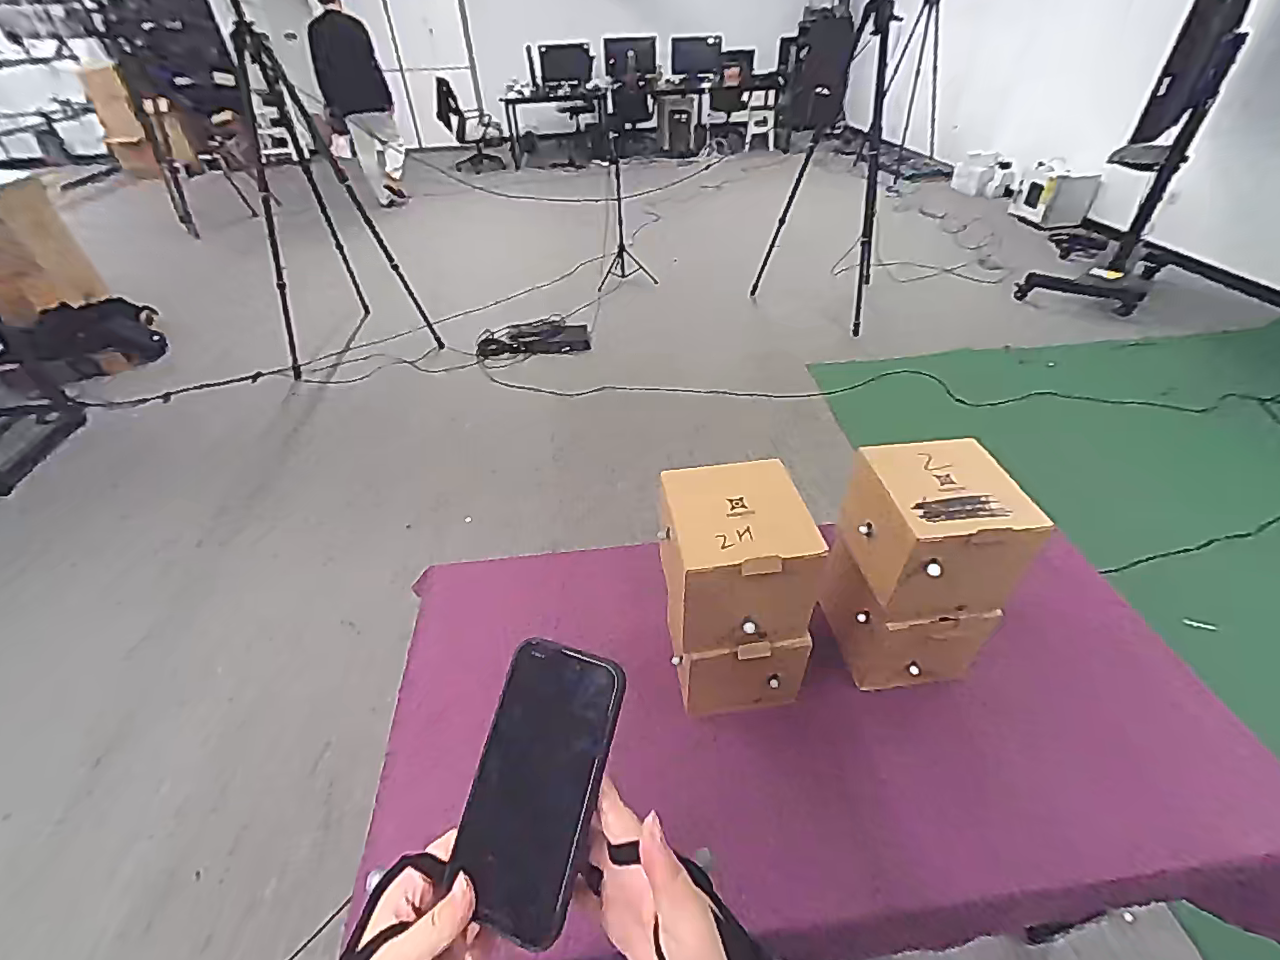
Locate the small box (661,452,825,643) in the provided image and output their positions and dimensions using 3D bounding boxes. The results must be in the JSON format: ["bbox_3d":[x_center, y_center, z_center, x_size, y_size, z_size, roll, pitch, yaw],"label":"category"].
[{"bbox_3d":[0.119,0.088,0.713,0.168,0.176,0.179,-7,42,-5],"label":"small box"}]

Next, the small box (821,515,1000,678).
[{"bbox_3d":[0.399,0.180,0.840,0.168,0.176,0.179,-6,43,-4],"label":"small box"}]

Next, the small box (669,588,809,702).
[{"bbox_3d":[0.137,0.216,0.816,0.168,0.176,0.179,-6,41,-4],"label":"small box"}]
